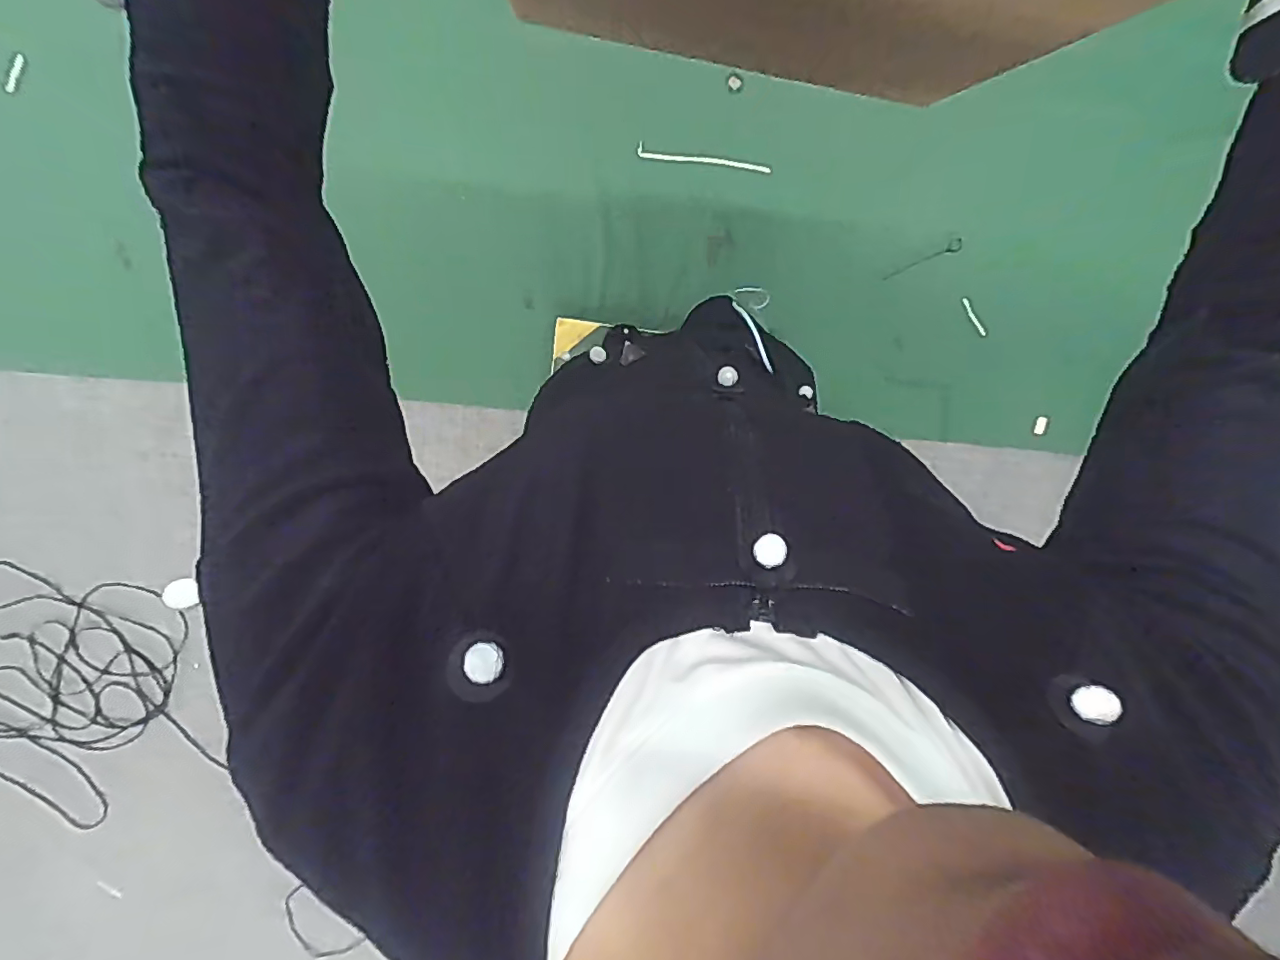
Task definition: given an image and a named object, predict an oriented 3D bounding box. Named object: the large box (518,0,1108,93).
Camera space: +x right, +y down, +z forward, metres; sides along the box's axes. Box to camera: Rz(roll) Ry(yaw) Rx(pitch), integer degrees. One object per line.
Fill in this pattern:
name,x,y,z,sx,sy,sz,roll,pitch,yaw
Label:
large box,0.116,-0.479,0.318,0.408,0.320,0.320,6,113,-7
